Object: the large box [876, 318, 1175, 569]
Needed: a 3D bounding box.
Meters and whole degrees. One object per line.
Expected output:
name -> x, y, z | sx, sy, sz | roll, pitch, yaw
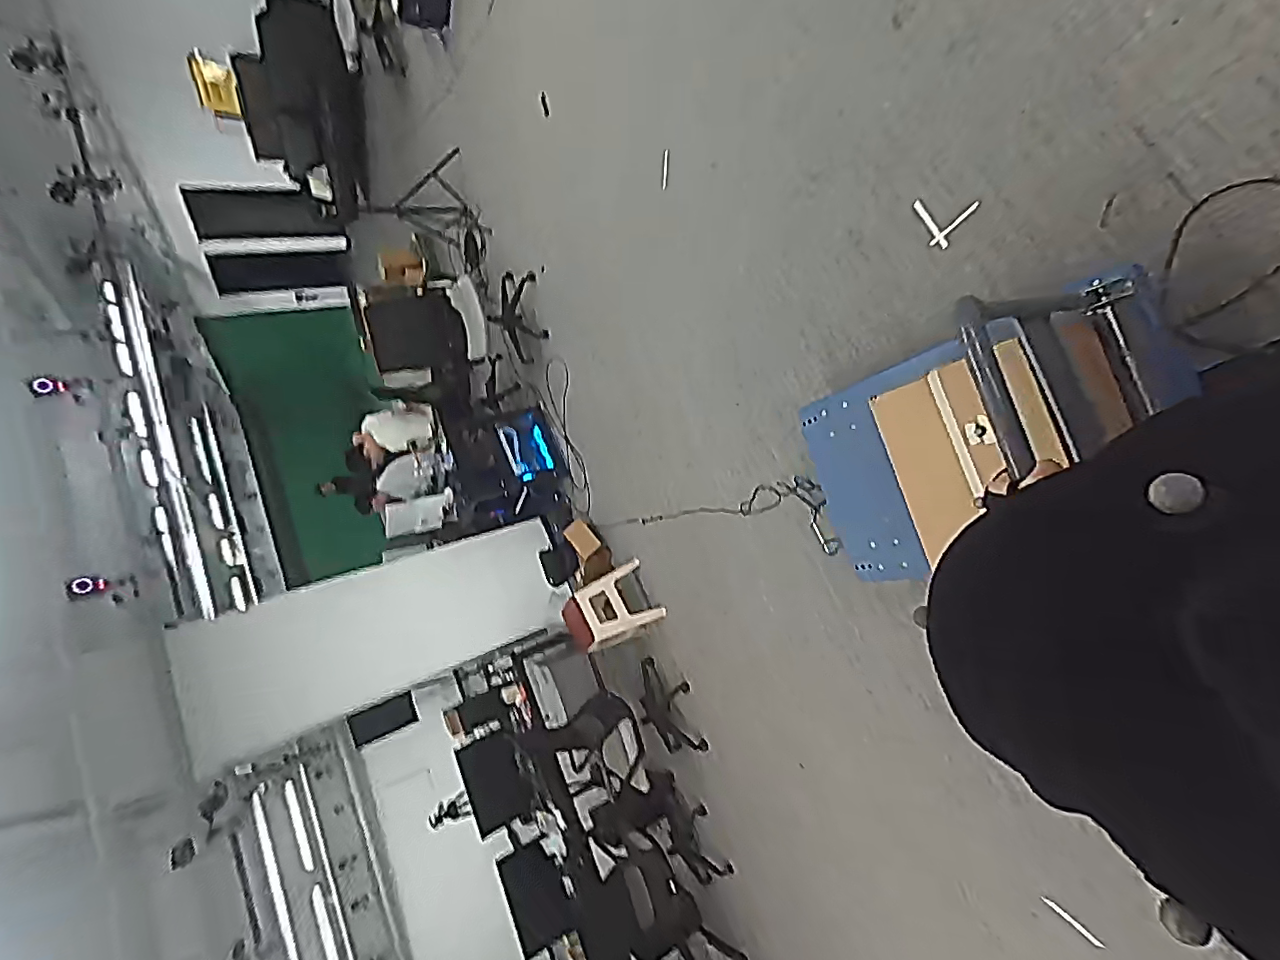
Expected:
large box -> 0.770, -0.067, 1.103 | 0.320, 0.320, 0.408 | -27, 81, 59
